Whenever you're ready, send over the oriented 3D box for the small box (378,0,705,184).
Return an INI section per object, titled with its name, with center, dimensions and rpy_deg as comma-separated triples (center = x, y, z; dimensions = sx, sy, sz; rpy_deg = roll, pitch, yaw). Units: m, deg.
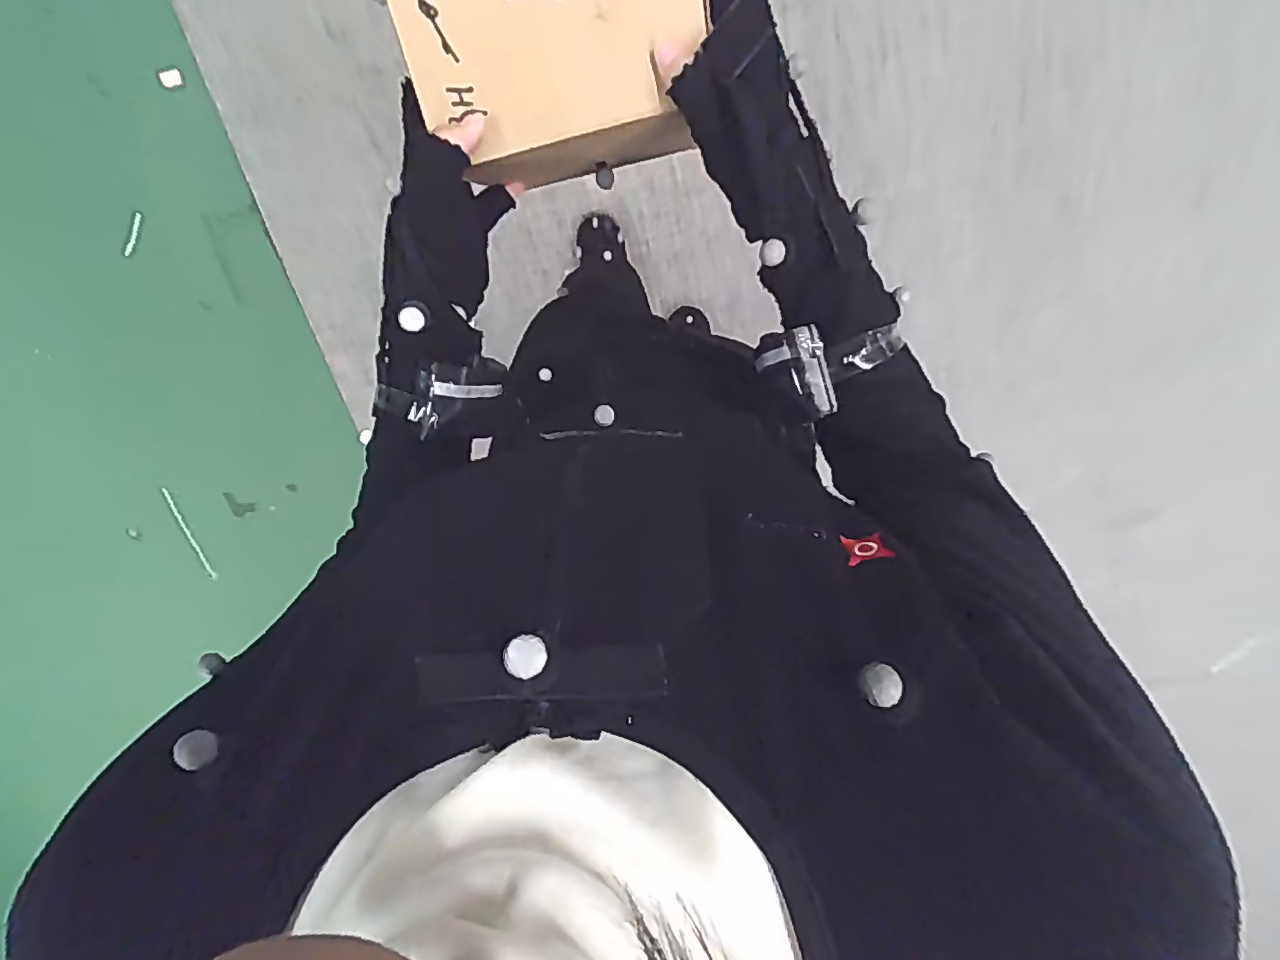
[small box]
center = -0.058, -0.314, 0.364
dimensions = 0.179, 0.176, 0.168
rpy_deg = -9, 112, 8
